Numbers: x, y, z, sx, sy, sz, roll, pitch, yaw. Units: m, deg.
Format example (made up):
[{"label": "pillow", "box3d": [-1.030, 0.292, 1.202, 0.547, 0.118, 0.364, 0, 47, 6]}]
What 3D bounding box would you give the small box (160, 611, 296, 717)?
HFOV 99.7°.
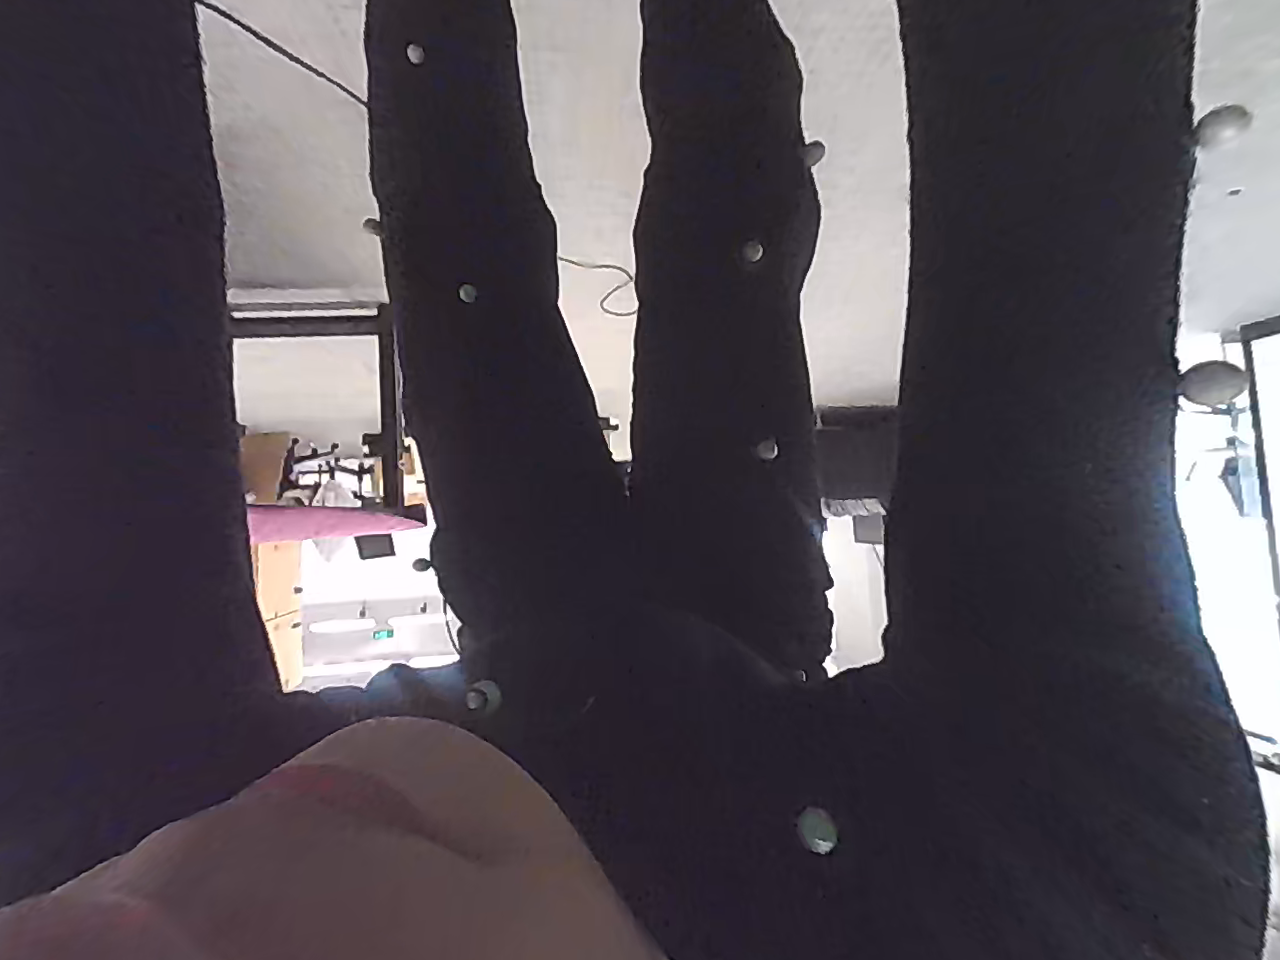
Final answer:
[{"label": "small box", "box3d": [-0.850, 0.372, 1.126, 0.179, 0.176, 0.168, -1, 176, -6]}]
